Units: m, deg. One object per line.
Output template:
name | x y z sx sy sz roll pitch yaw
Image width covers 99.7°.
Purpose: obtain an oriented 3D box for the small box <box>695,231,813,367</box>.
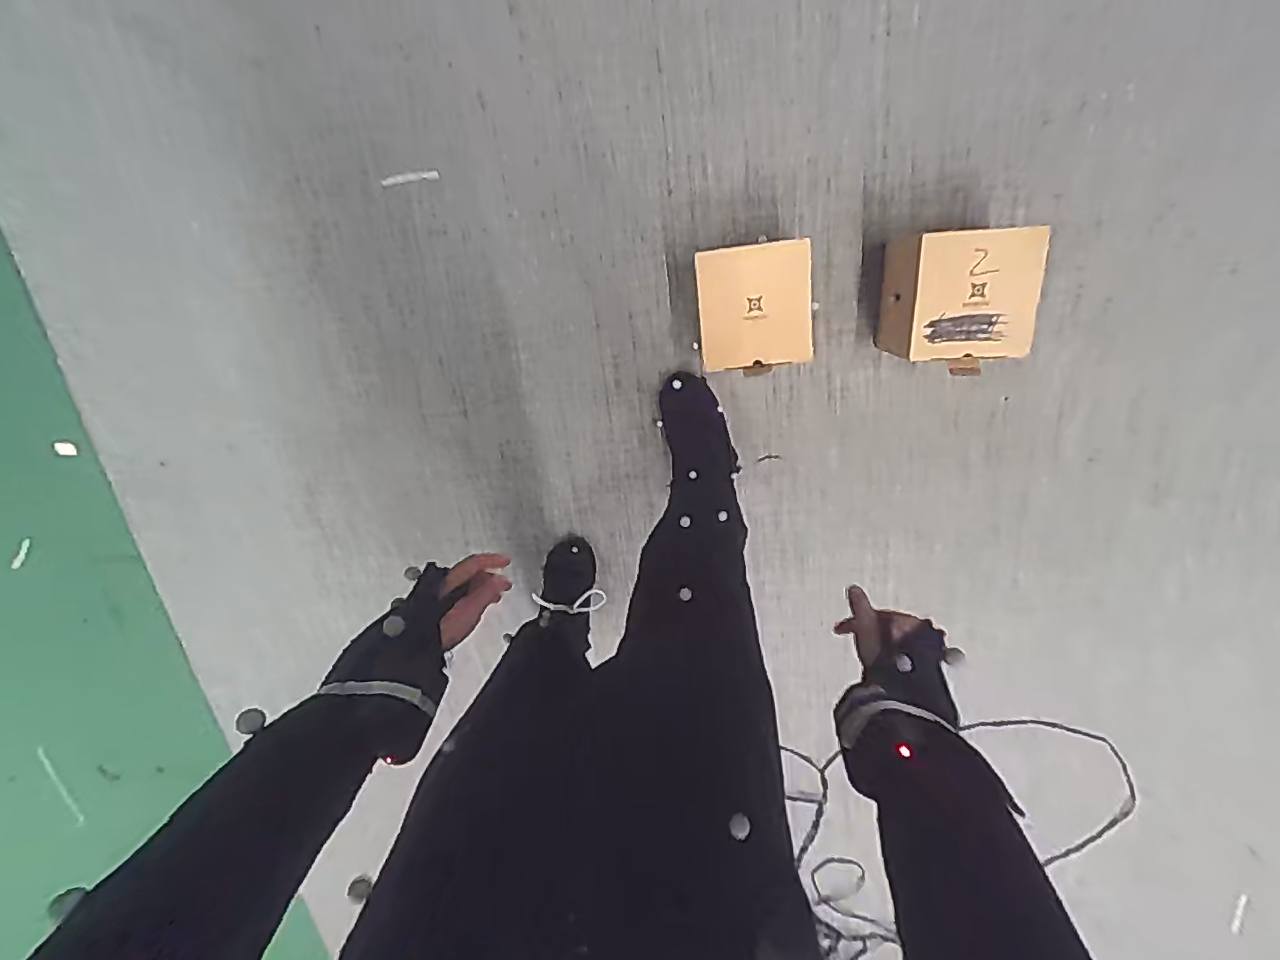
small box | 0.175 -0.285 0.862 0.168 0.176 0.179 -4 110 8
